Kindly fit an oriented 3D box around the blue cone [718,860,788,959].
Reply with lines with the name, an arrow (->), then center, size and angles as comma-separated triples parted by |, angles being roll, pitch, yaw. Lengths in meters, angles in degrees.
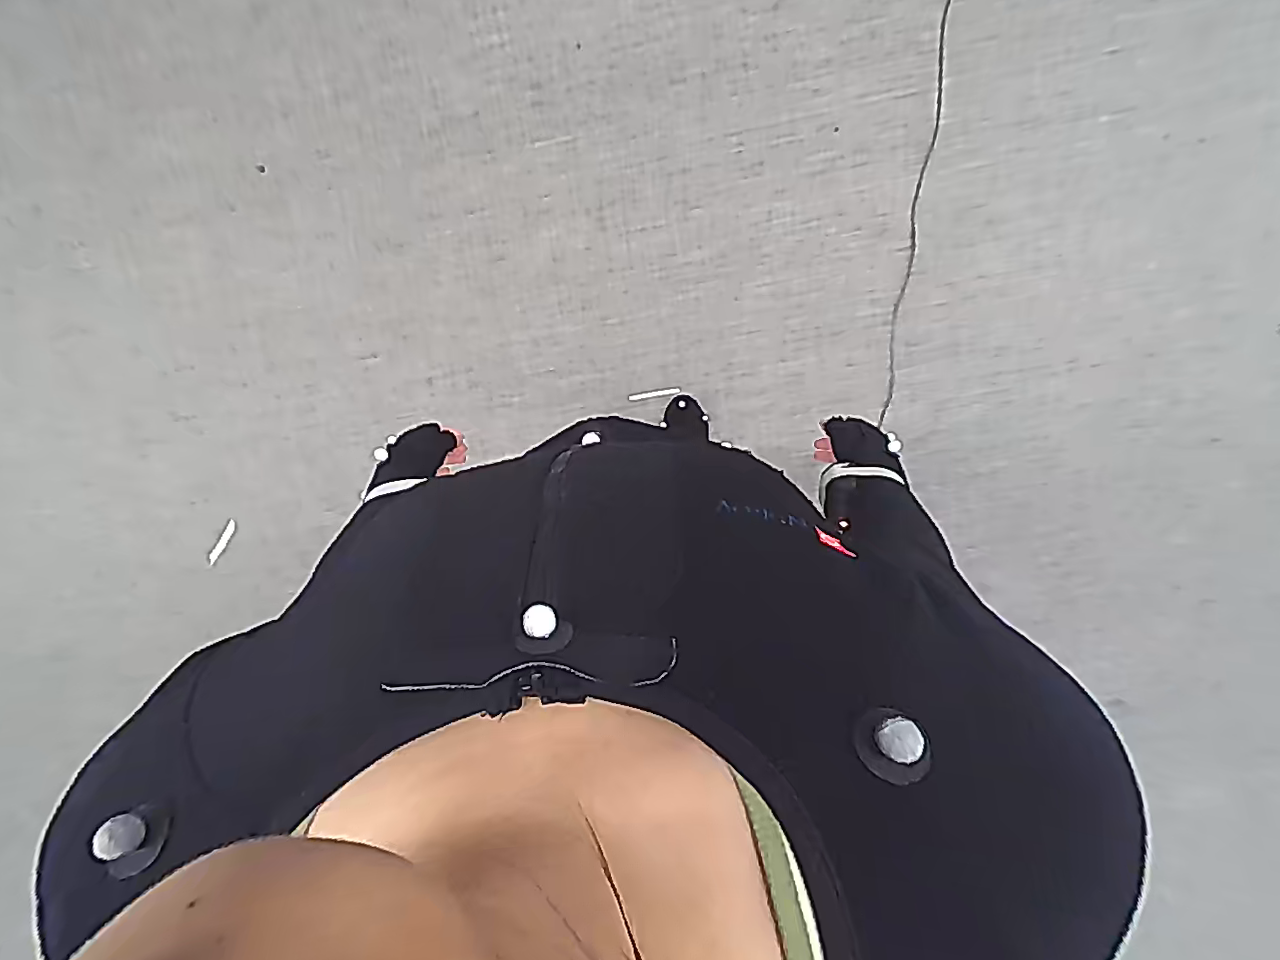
blue cone -> 0.325, 1.233, 1.434 | 0.193, 0.380, 0.192 | -11, 96, 4
